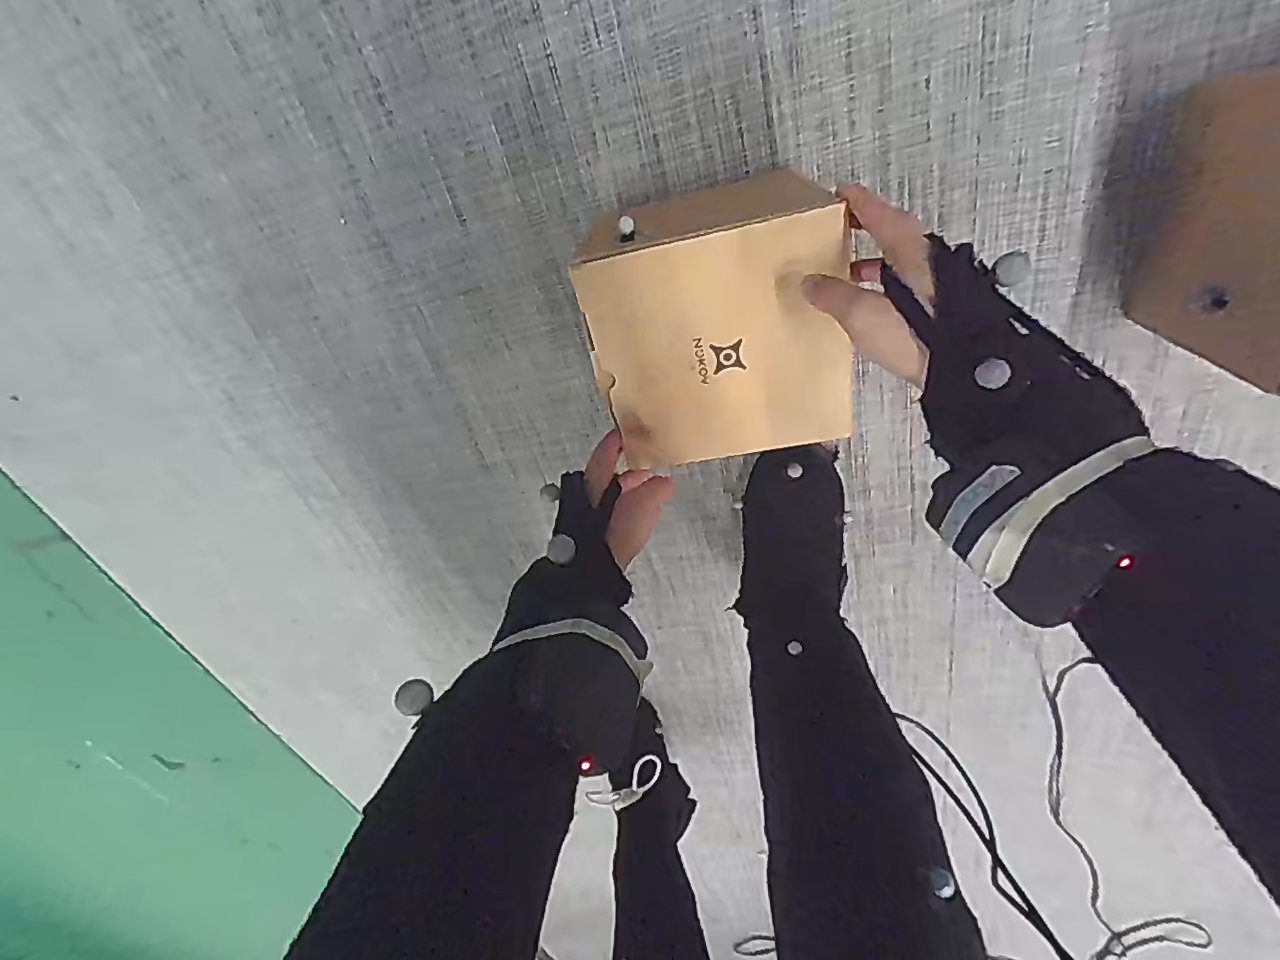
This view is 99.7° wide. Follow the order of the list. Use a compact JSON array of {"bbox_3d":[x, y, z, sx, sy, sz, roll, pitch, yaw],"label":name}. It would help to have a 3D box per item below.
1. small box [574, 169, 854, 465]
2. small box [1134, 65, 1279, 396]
[{"bbox_3d":[0.062,-0.136,0.439,0.179,0.176,0.168,-8,124,11],"label":"small box"},{"bbox_3d":[0.478,-0.175,0.350,0.168,0.176,0.179,-5,121,12],"label":"small box"}]
